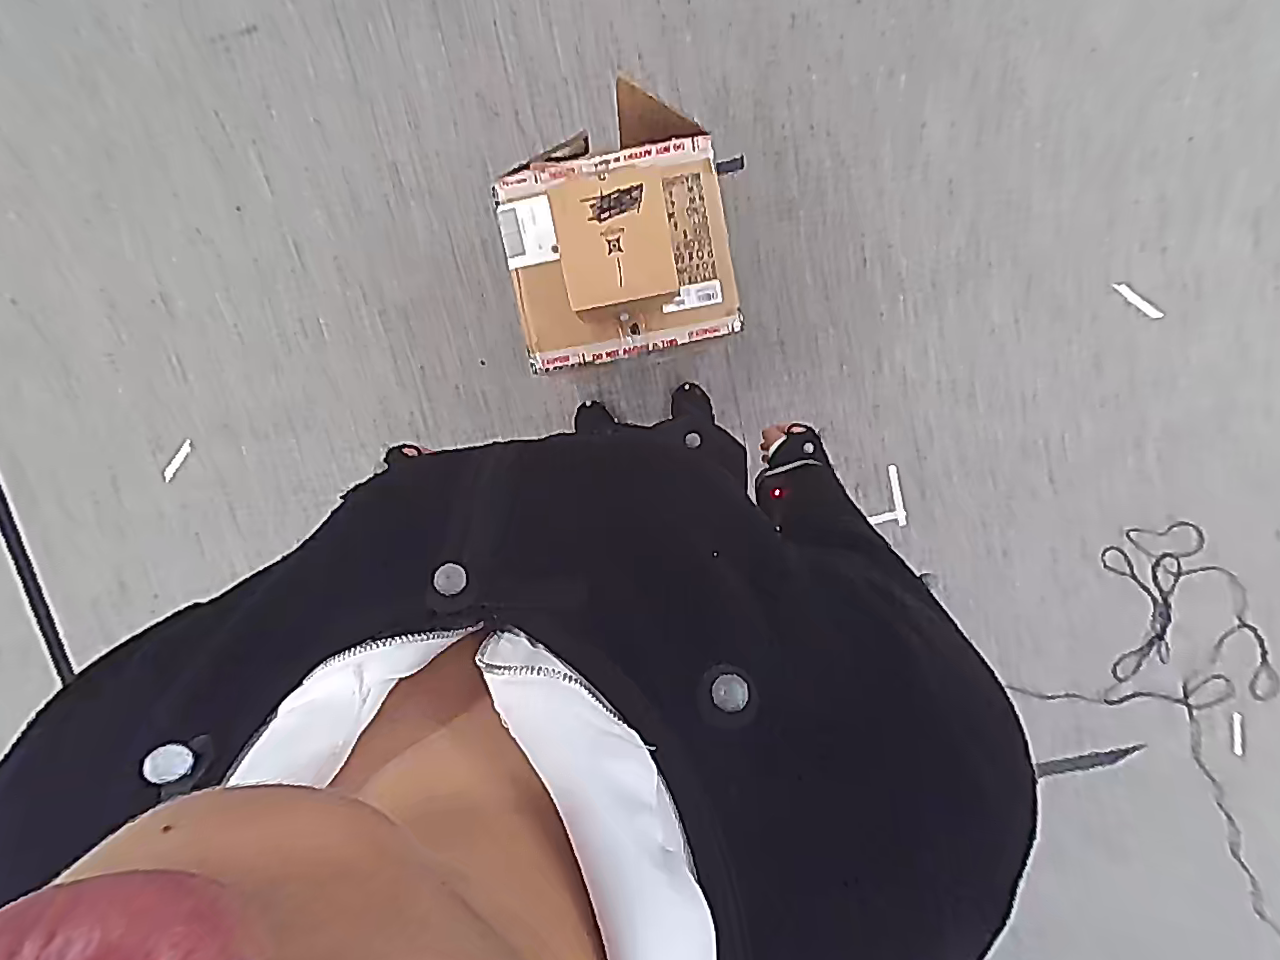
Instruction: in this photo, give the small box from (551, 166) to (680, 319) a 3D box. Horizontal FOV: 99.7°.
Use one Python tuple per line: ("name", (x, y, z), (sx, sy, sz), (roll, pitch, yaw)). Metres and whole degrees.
("small box", (-0.036, -0.364, 0.859), (0.168, 0.176, 0.179), (-10, 102, 2))
